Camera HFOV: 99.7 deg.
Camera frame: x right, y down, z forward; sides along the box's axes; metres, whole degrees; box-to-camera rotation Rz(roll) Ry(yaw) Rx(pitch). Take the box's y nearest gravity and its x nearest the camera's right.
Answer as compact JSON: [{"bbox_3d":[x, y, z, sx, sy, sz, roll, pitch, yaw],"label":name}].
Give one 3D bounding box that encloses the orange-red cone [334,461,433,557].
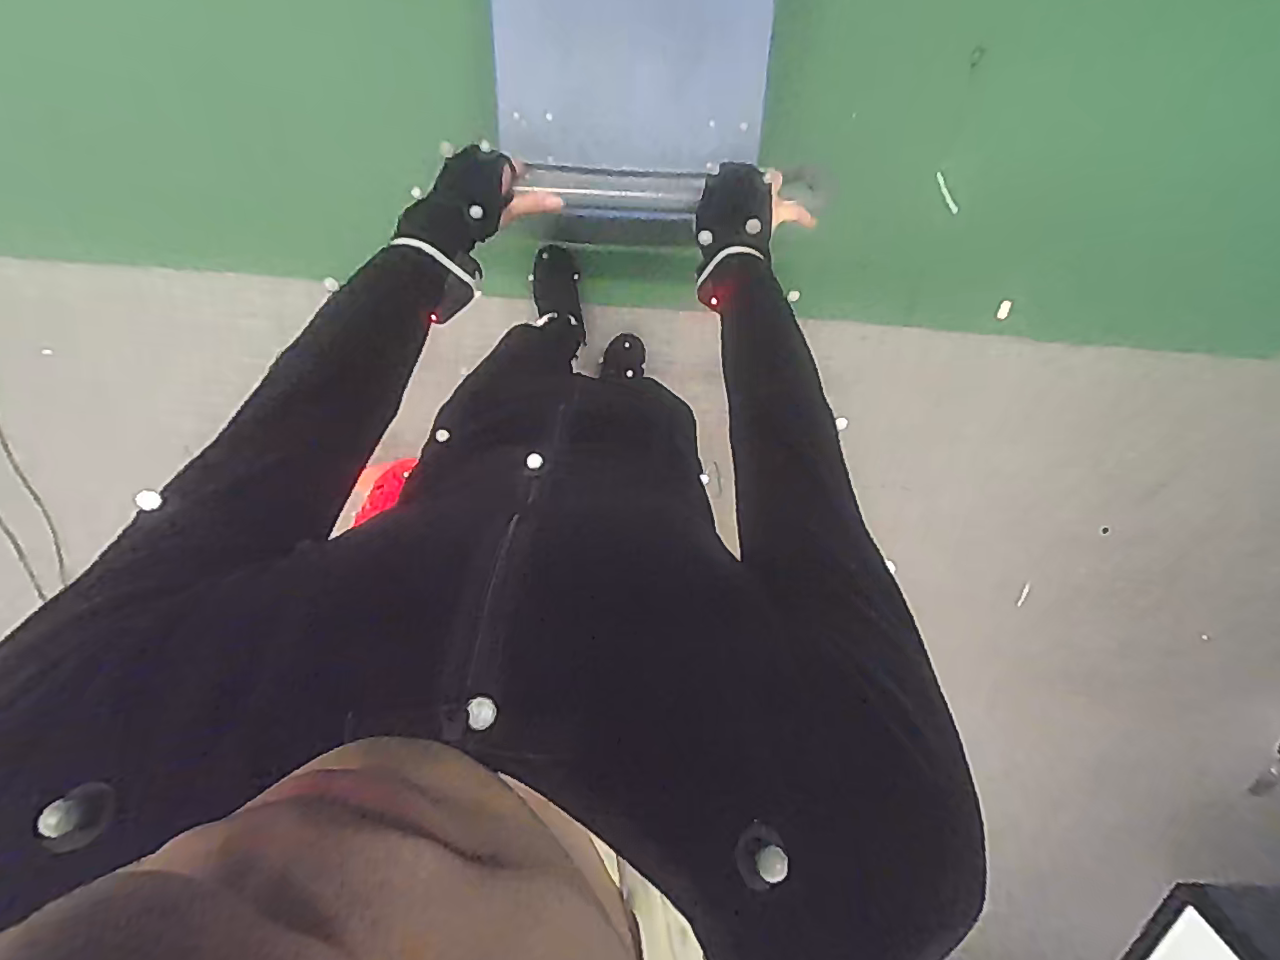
[{"bbox_3d":[-0.747,0.107,1.502,0.199,0.360,0.198,-9,113,3],"label":"orange-red cone"}]
